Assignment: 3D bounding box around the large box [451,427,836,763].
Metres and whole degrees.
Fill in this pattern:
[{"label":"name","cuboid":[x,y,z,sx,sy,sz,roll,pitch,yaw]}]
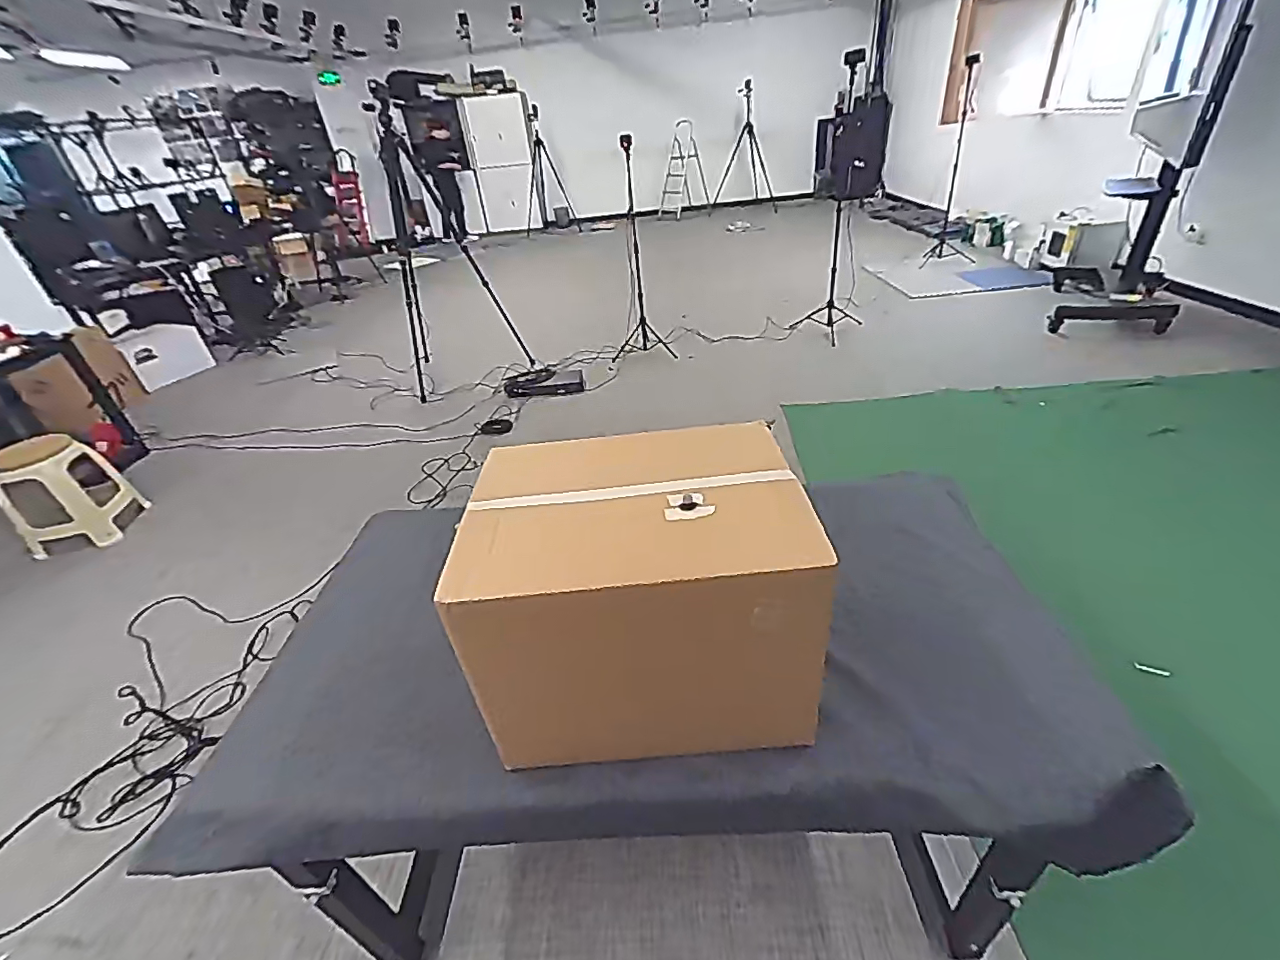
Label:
[{"label":"large box","cuboid":[0.006,0.147,0.749,0.408,0.320,0.320,-5,33,0]}]
